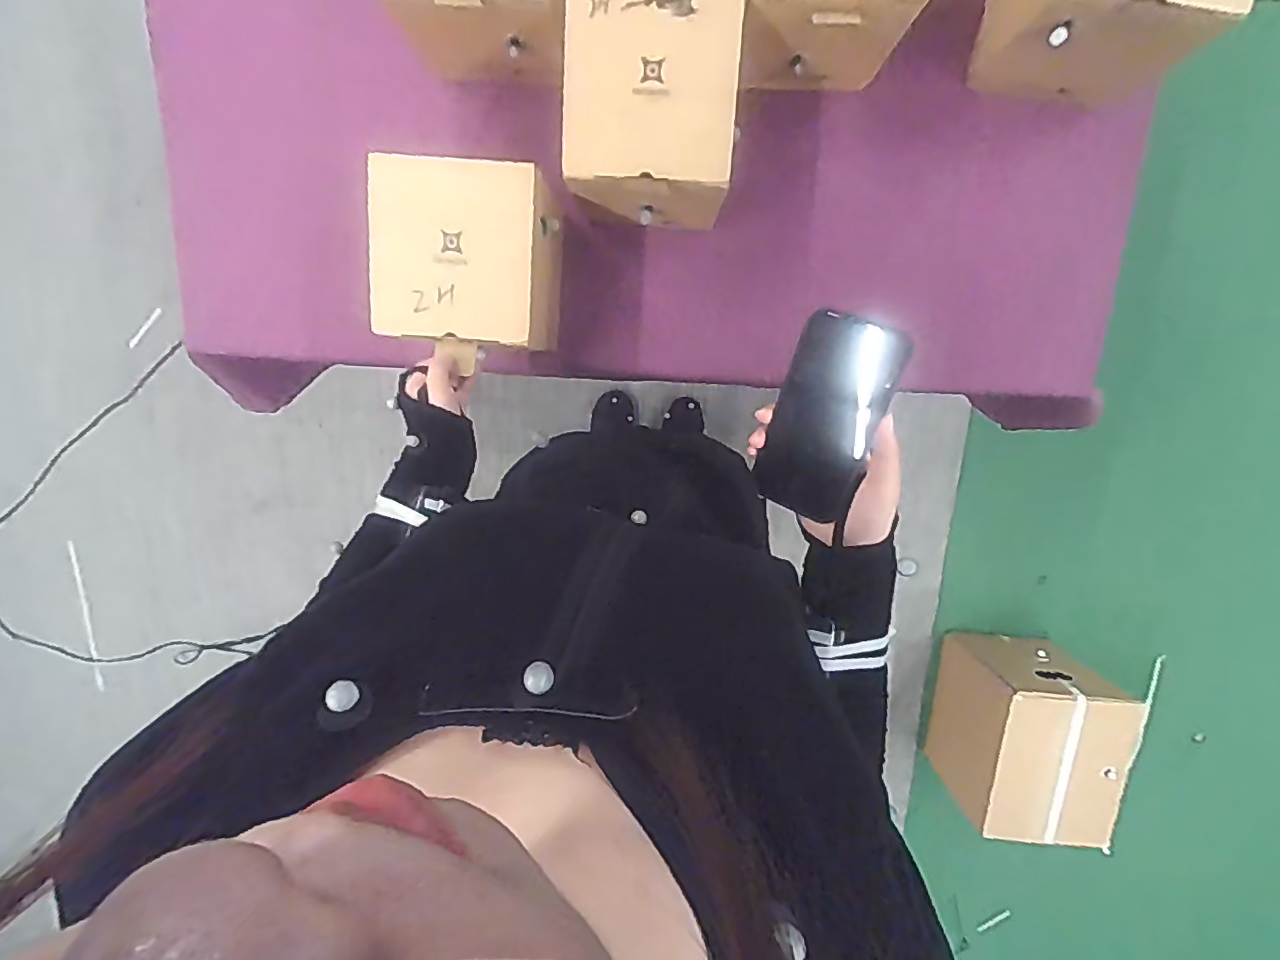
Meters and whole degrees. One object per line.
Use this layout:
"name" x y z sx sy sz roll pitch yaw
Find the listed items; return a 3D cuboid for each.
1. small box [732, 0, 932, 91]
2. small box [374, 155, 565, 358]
"small box" 0.189 -0.538 0.553 0.168 0.176 0.179 1 103 2
"small box" -0.184 -0.240 0.622 0.168 0.176 0.179 5 100 1
